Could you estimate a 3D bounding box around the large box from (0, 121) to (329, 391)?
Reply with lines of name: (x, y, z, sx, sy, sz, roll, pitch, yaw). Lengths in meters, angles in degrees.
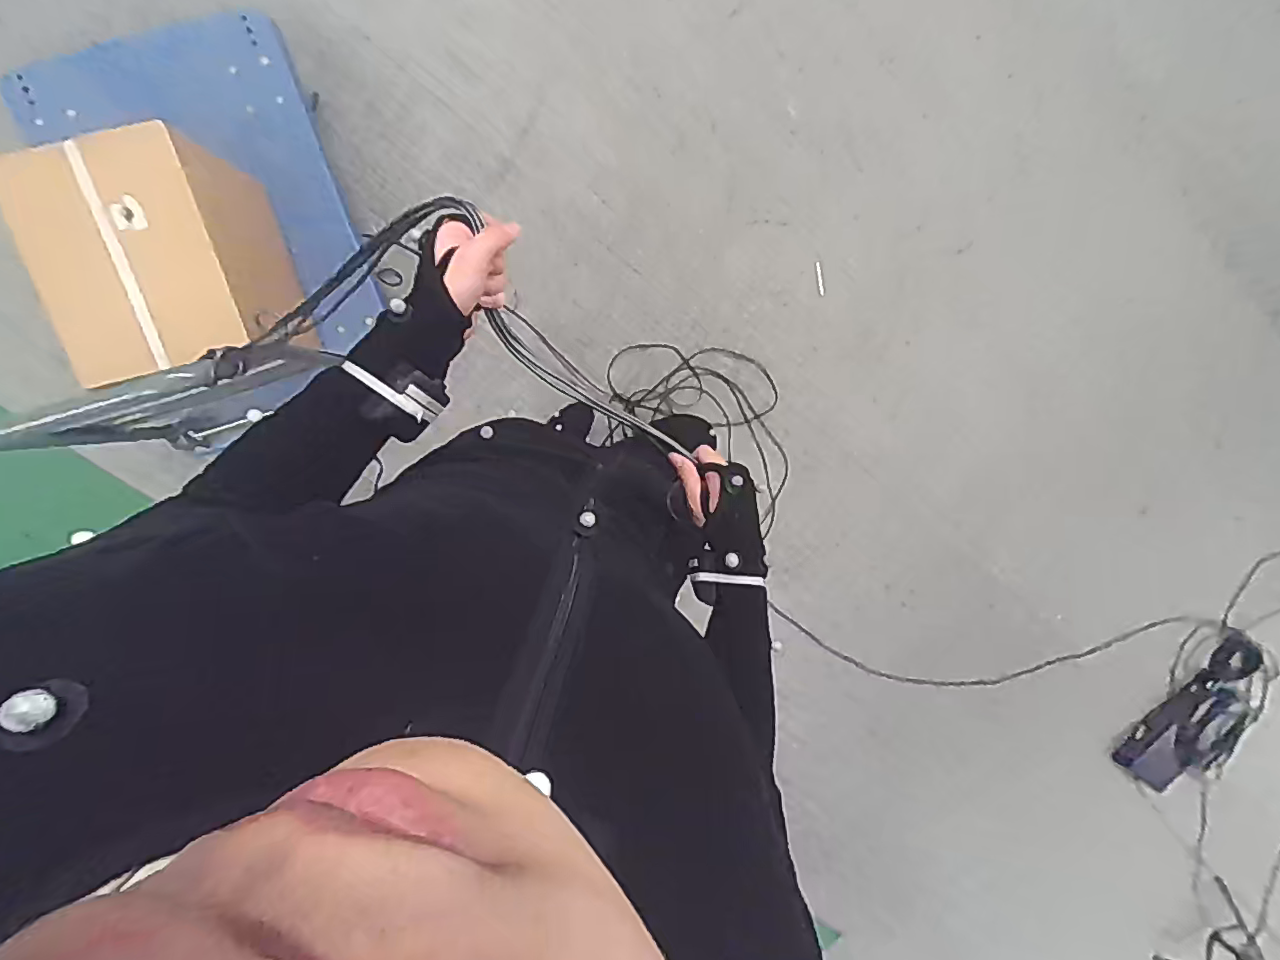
large box: (-0.922, -0.417, 1.105, 0.320, 0.320, 0.408, -15, 101, -4)
